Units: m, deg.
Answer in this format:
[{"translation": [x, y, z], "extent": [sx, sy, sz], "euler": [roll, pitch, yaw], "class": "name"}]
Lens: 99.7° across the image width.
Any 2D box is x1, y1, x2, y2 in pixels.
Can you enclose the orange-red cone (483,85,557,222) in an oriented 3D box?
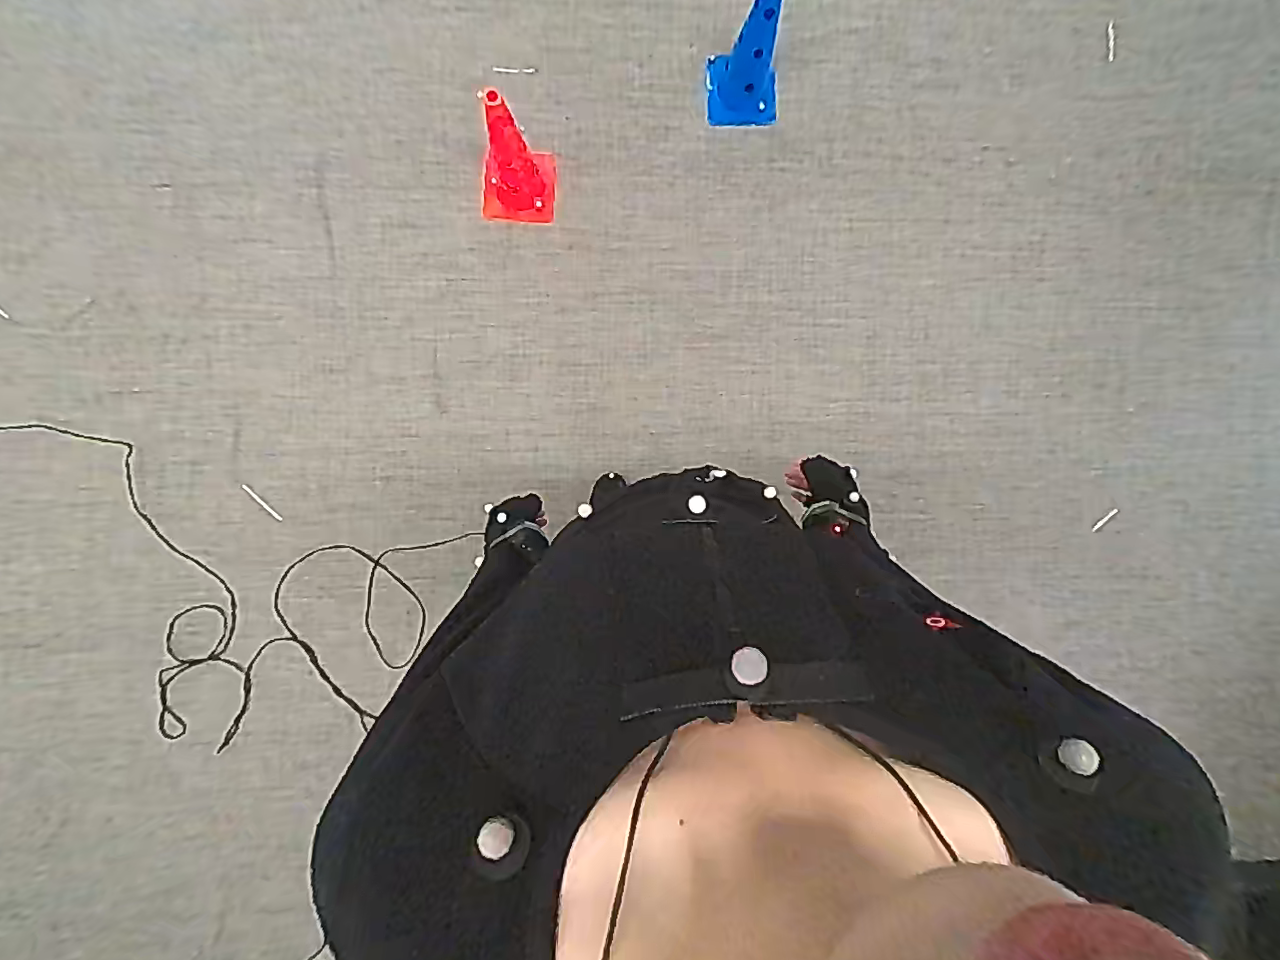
[{"translation": [-0.324, -0.829, 1.336], "extent": [0.198, 0.360, 0.199], "euler": [4, 88, -3], "class": "orange-red cone"}]
